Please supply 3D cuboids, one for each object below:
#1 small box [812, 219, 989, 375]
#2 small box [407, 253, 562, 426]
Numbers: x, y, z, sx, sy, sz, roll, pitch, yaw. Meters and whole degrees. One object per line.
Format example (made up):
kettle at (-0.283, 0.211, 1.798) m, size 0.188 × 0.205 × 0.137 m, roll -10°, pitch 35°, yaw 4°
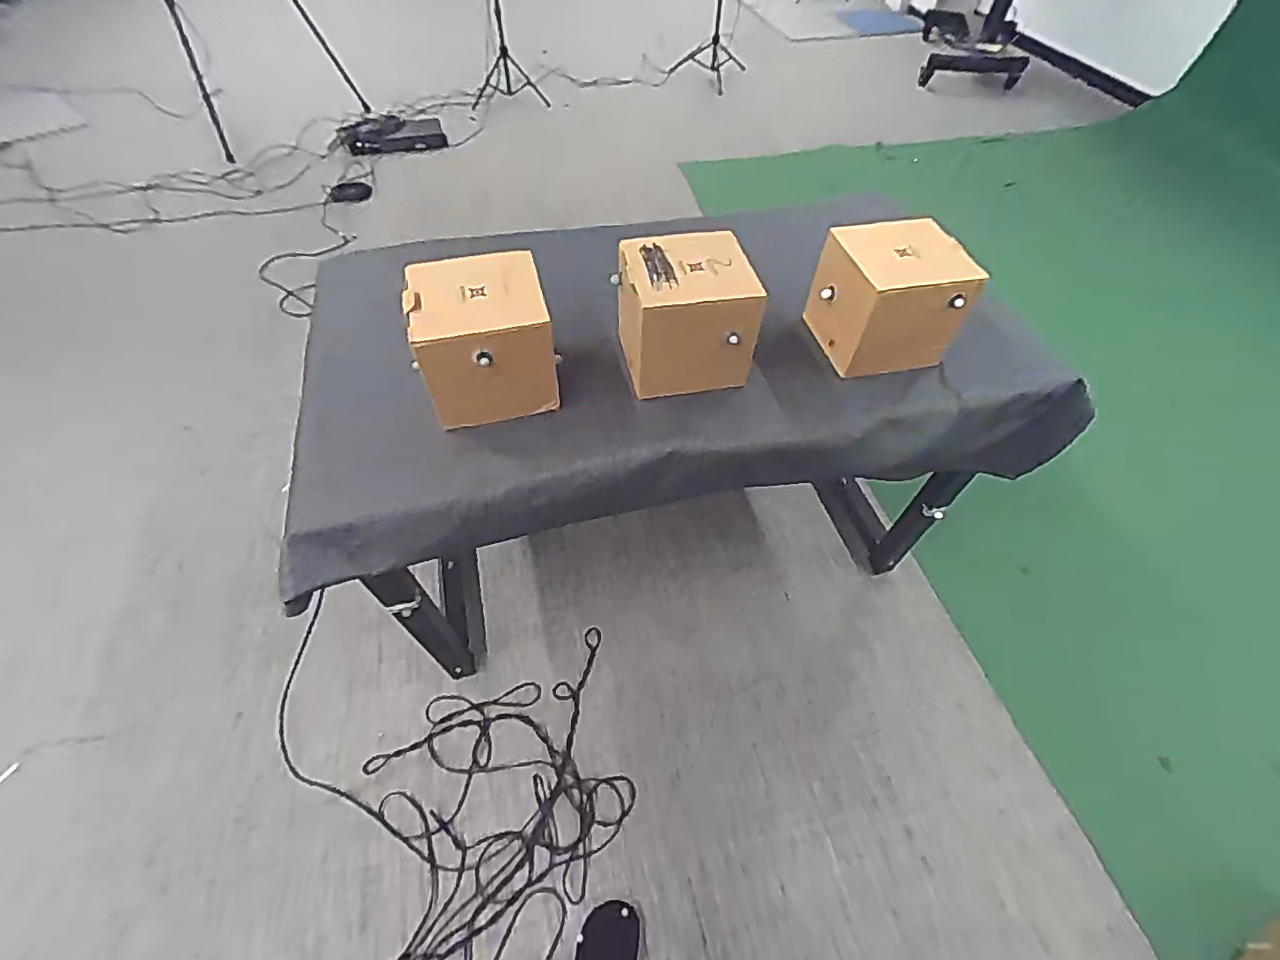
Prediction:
small box at (0.390, -0.284, 0.856) m, size 0.179 × 0.176 × 0.168 m, roll -9°, pitch 55°, yaw -8°
small box at (-0.218, -0.198, 0.779) m, size 0.179 × 0.176 × 0.168 m, roll -12°, pitch 57°, yaw -11°
